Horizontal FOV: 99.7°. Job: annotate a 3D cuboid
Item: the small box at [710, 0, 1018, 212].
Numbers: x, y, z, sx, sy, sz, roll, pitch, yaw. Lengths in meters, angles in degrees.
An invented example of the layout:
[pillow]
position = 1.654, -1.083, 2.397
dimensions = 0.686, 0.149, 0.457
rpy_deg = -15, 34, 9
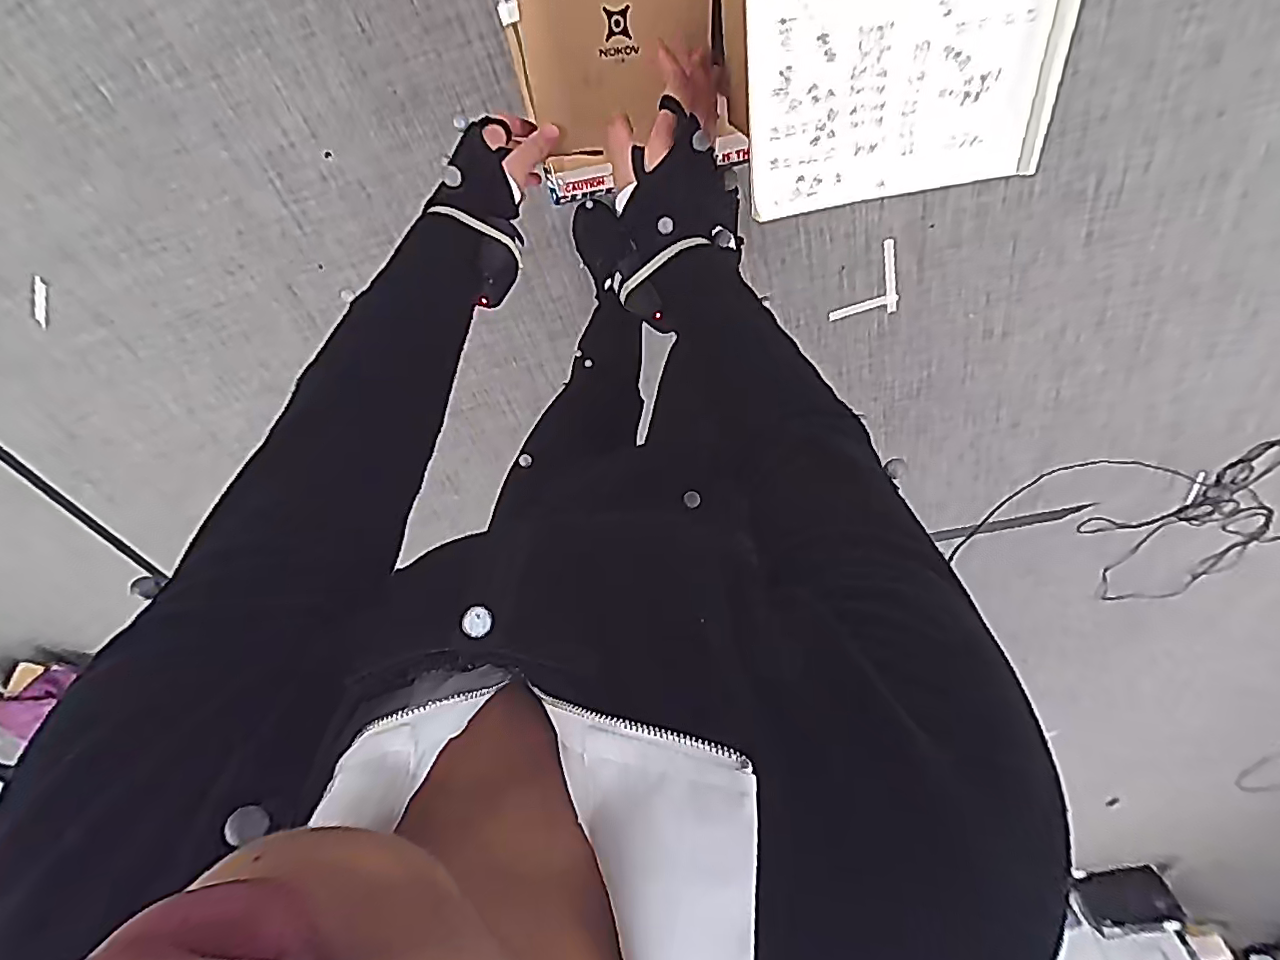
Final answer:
[small box]
position = 0.148, -0.327, 0.404
dimensions = 0.168, 0.176, 0.179
rpy_deg = -9, 130, 4
